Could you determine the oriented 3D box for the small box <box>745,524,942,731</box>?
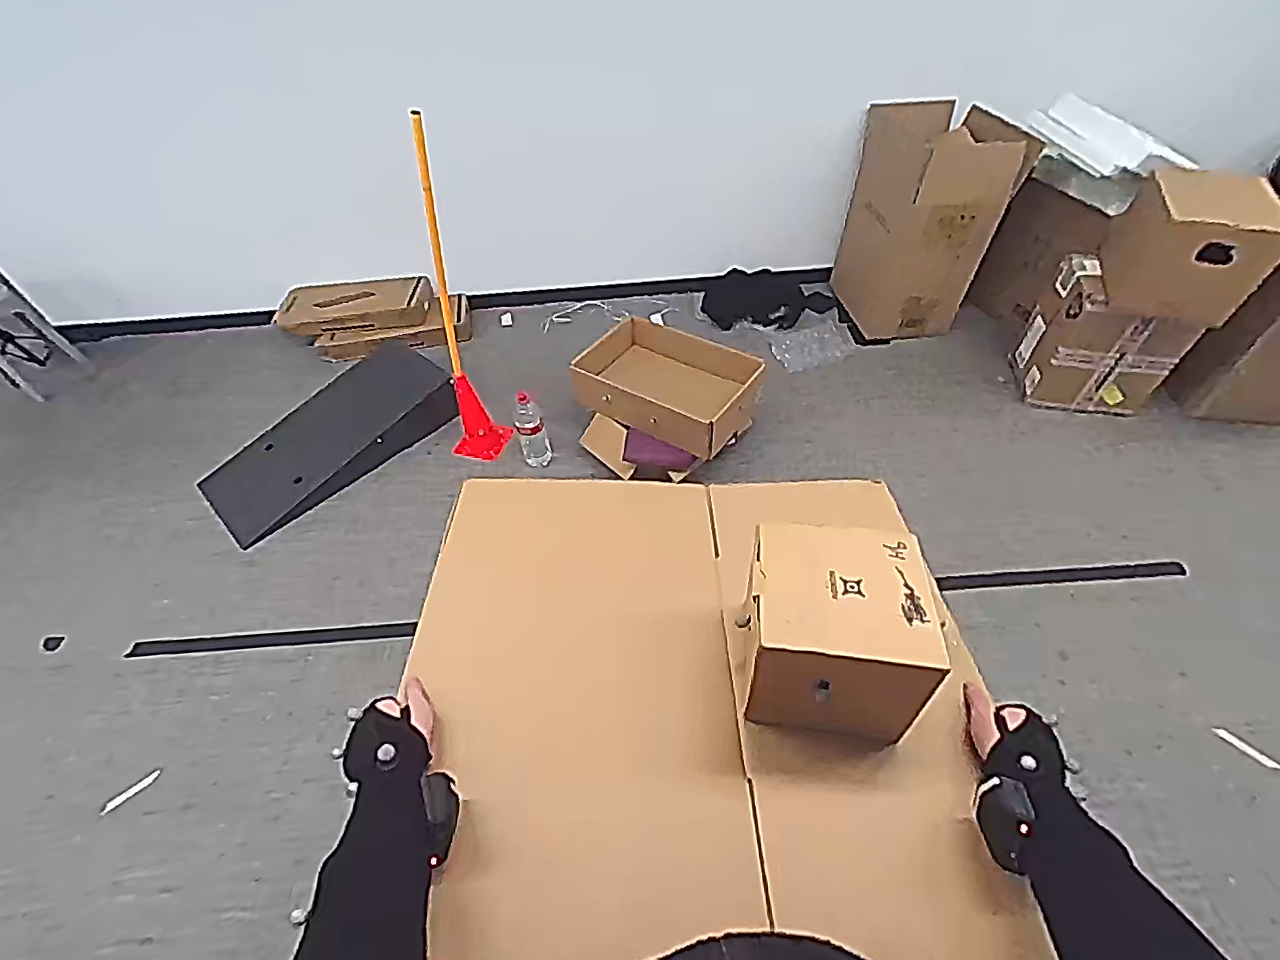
[{"bbox_3d":[0.215,0.171,0.626,0.179,0.176,0.168,4,44,9],"label":"small box"}]
